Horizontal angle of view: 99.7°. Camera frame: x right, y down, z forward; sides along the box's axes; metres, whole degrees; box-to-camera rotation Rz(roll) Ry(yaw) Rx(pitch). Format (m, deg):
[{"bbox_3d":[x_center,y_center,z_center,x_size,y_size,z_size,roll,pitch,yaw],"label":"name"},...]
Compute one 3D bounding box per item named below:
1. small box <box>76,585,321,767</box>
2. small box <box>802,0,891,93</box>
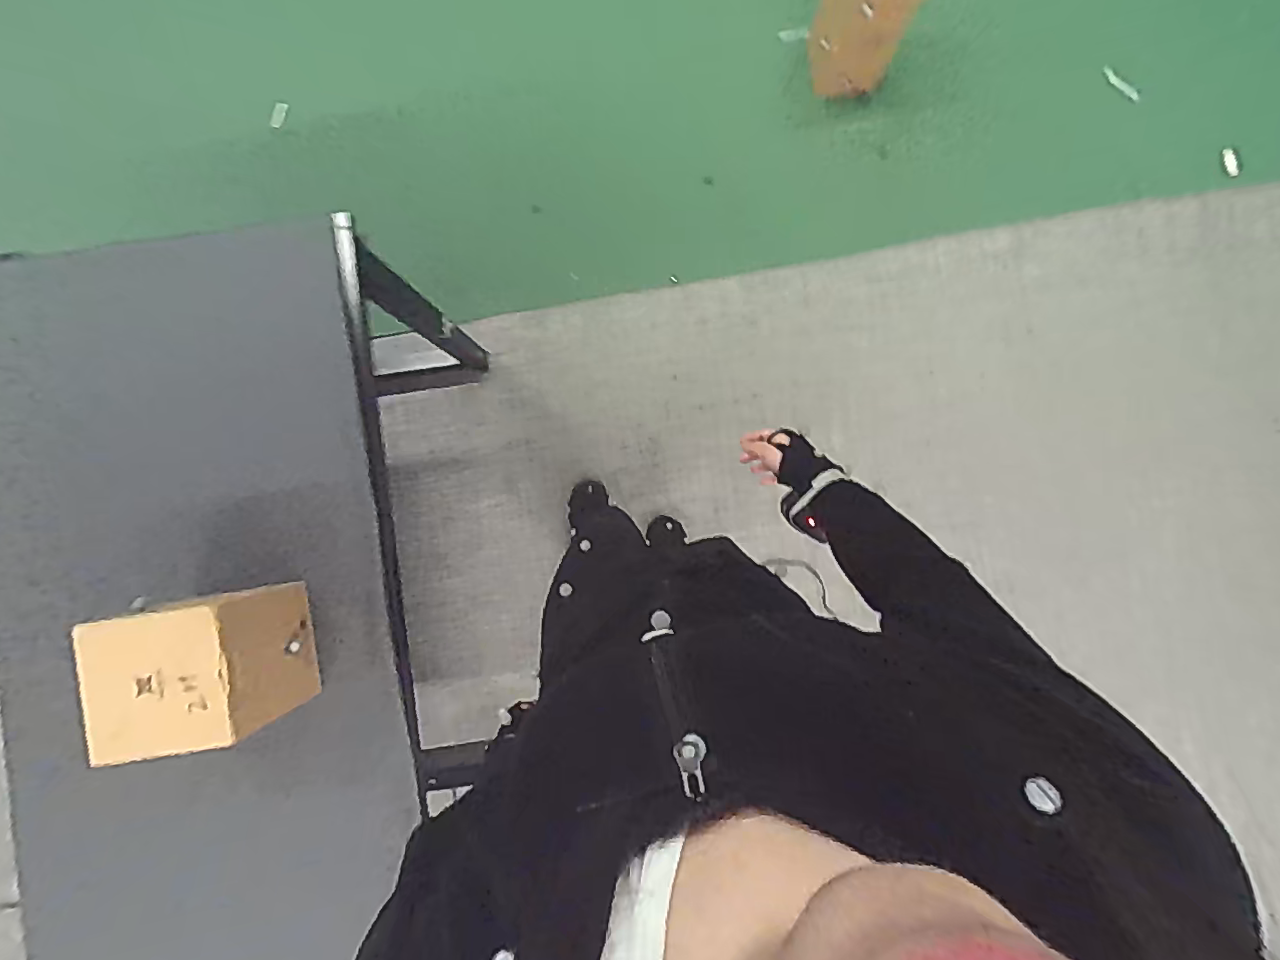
[{"bbox_3d":[-0.561,0.243,0.709,0.179,0.176,0.168,-10,89,1],"label":"small box"},{"bbox_3d":[0.548,-1.194,1.454,0.168,0.176,0.179,-7,89,1],"label":"small box"}]
